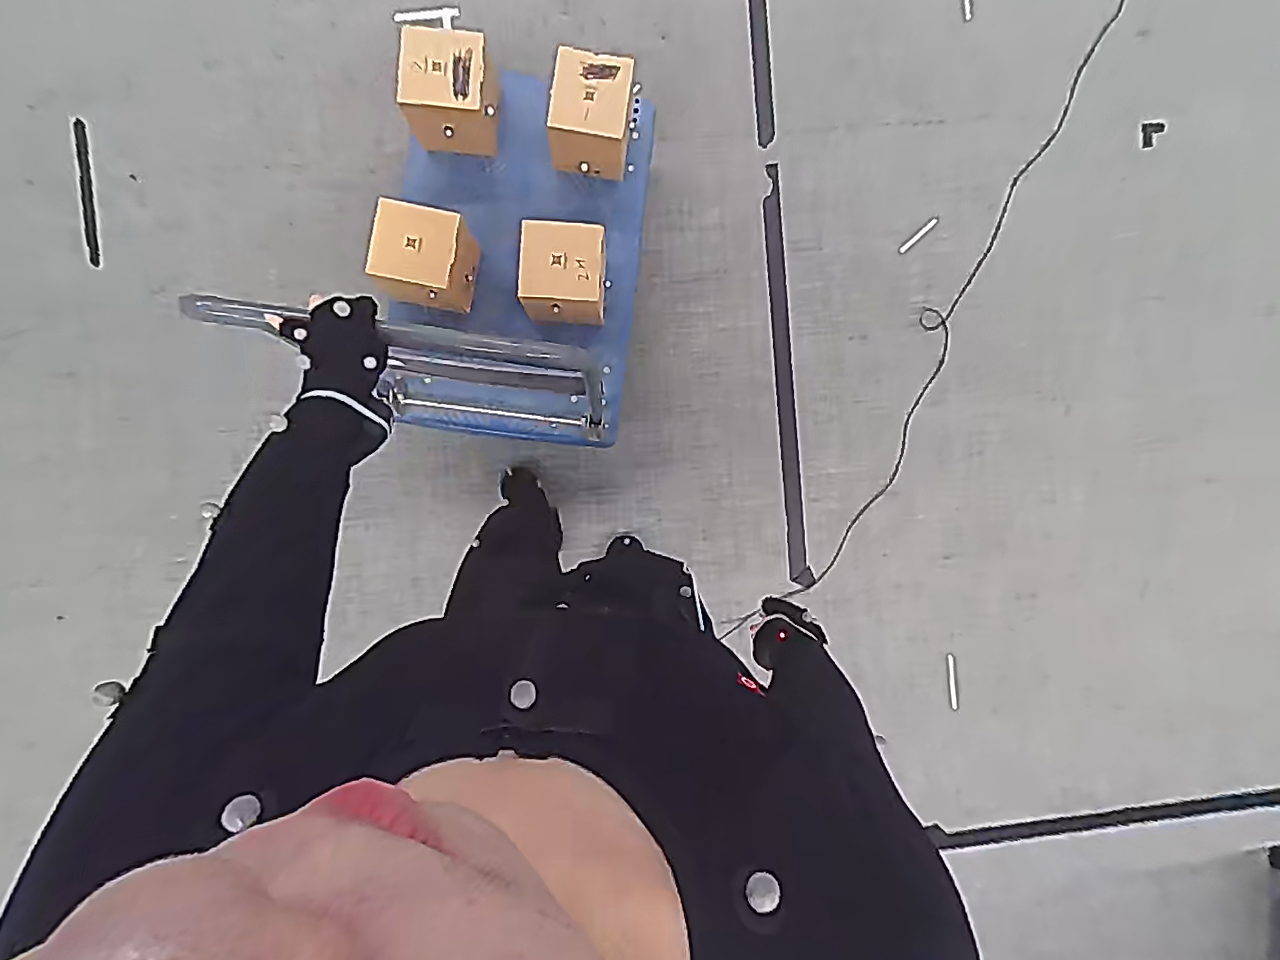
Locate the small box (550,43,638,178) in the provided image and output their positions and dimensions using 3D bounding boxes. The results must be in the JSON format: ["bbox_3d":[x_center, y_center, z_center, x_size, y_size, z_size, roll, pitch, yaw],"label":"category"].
[{"bbox_3d":[-0.102,-0.826,1.224,0.168,0.176,0.179,9,91,-2],"label":"small box"}]

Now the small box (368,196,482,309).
[{"bbox_3d":[-0.472,-0.498,1.211,0.179,0.176,0.168,10,89,-4],"label":"small box"}]

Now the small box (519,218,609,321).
[{"bbox_3d":[-0.165,-0.466,1.221,0.179,0.176,0.168,4,90,-2],"label":"small box"}]
